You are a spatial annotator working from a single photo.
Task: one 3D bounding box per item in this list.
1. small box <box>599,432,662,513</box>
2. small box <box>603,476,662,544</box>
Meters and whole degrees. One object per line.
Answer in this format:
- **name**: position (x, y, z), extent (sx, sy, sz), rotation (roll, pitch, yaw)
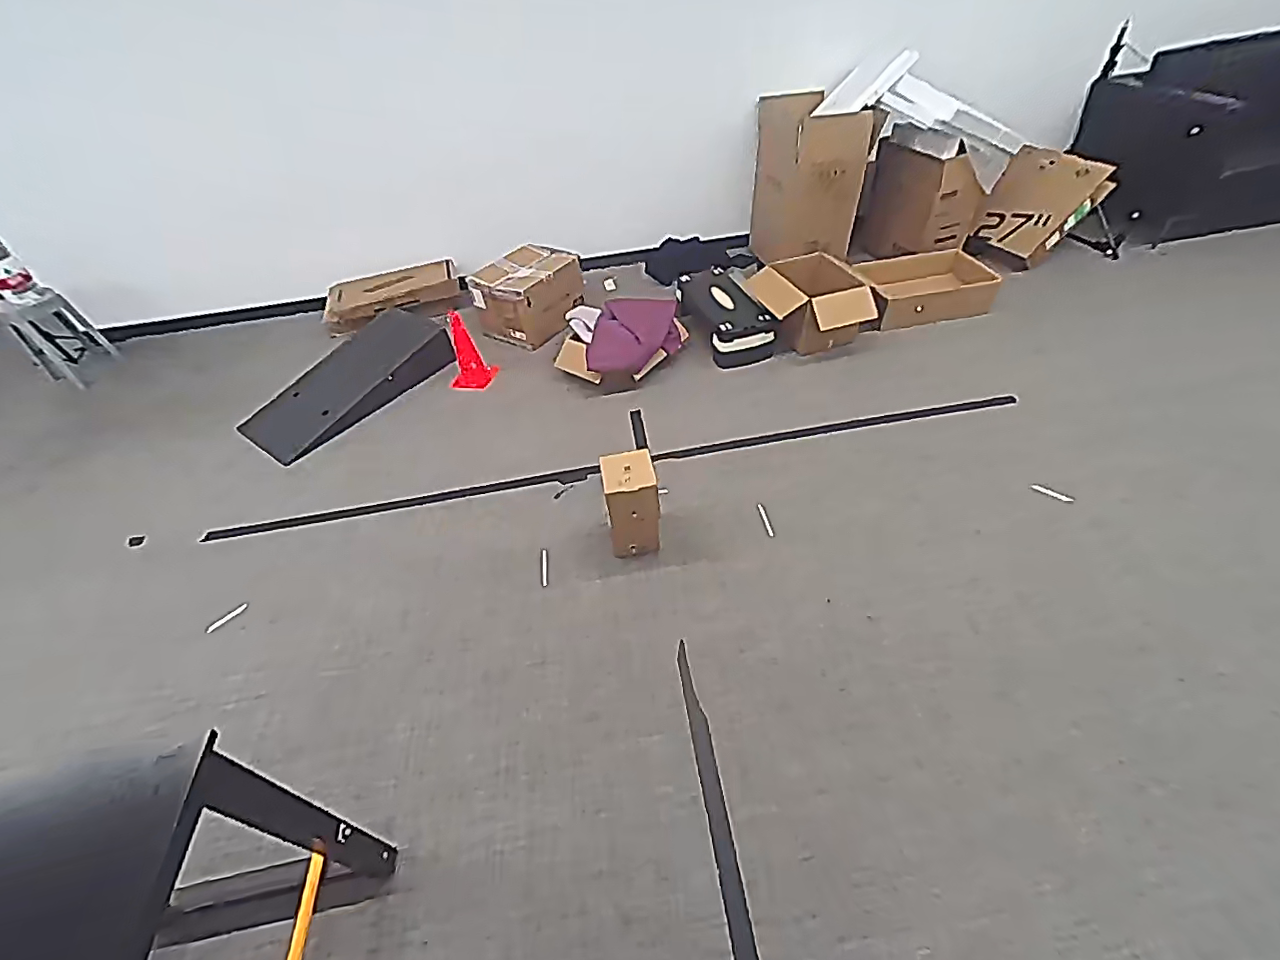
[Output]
- **small box**: position (-0.030, -0.023, 1.684), extent (0.168, 0.176, 0.179), rotation (-11, 45, -3)
- **small box**: position (-0.025, 0.088, 1.807), extent (0.168, 0.176, 0.179), rotation (-11, 47, -3)
